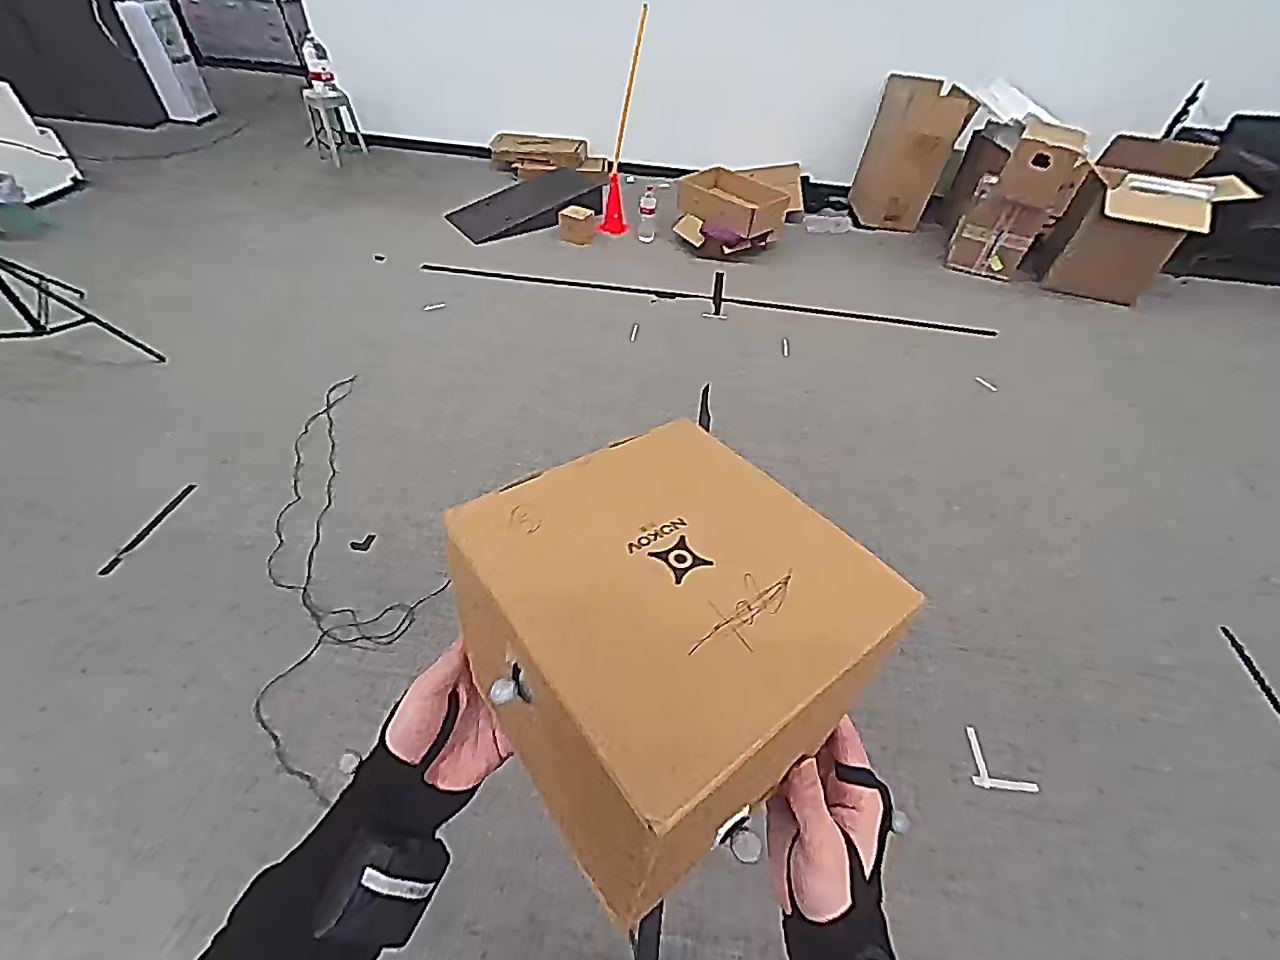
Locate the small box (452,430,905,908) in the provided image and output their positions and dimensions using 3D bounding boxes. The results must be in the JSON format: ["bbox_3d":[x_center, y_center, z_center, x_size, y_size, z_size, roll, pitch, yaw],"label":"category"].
[{"bbox_3d":[0.009,0.102,0.325,0.168,0.176,0.179,-26,50,-30],"label":"small box"}]
